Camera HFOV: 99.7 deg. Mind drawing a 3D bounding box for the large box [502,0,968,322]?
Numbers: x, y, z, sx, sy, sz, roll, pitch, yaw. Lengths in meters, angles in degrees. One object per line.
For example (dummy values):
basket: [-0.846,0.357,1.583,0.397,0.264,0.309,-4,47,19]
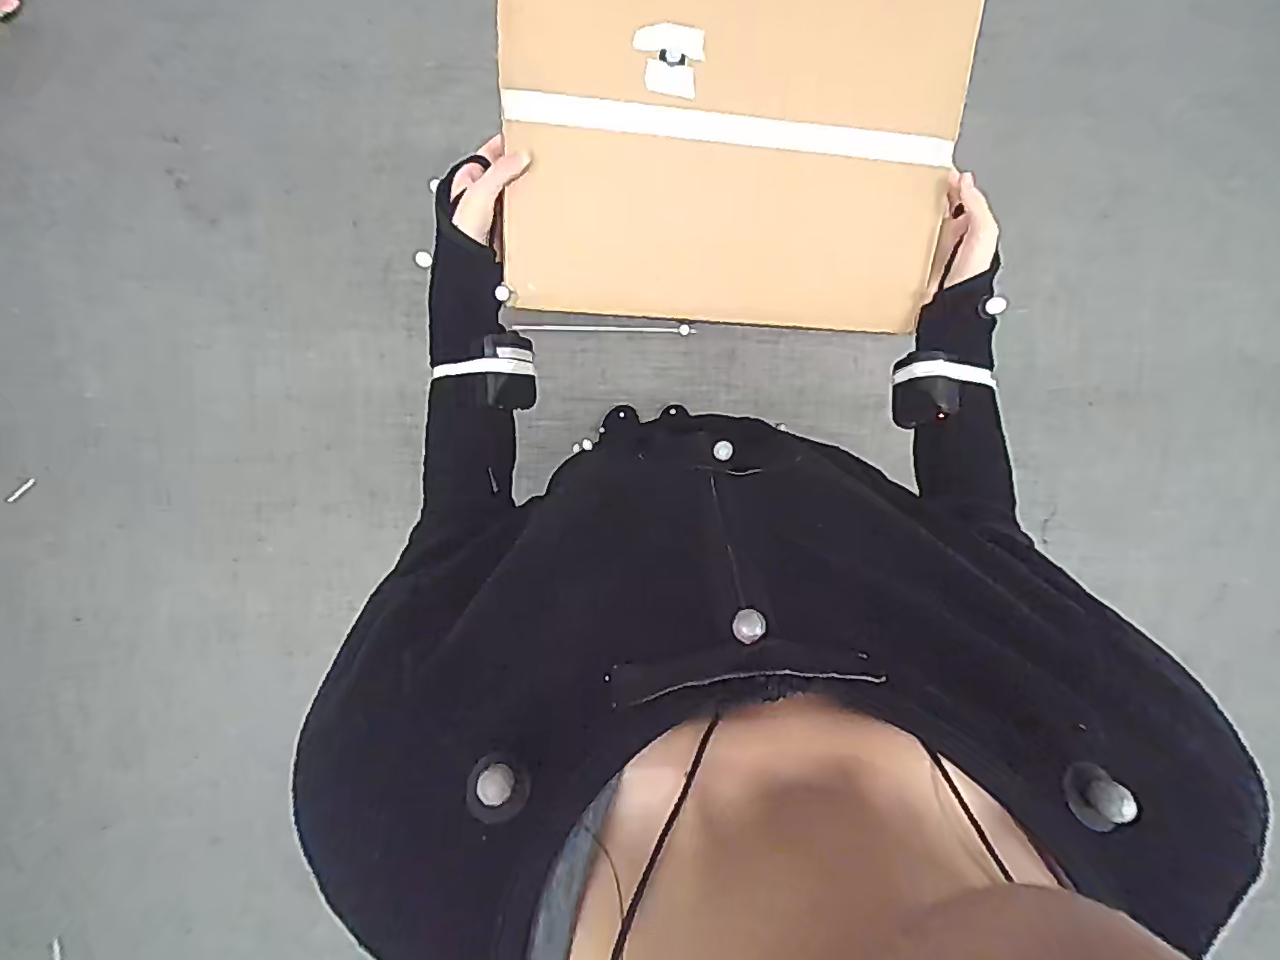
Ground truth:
large box: [0.066,-0.355,0.620,0.408,0.320,0.320,1,106,-7]
